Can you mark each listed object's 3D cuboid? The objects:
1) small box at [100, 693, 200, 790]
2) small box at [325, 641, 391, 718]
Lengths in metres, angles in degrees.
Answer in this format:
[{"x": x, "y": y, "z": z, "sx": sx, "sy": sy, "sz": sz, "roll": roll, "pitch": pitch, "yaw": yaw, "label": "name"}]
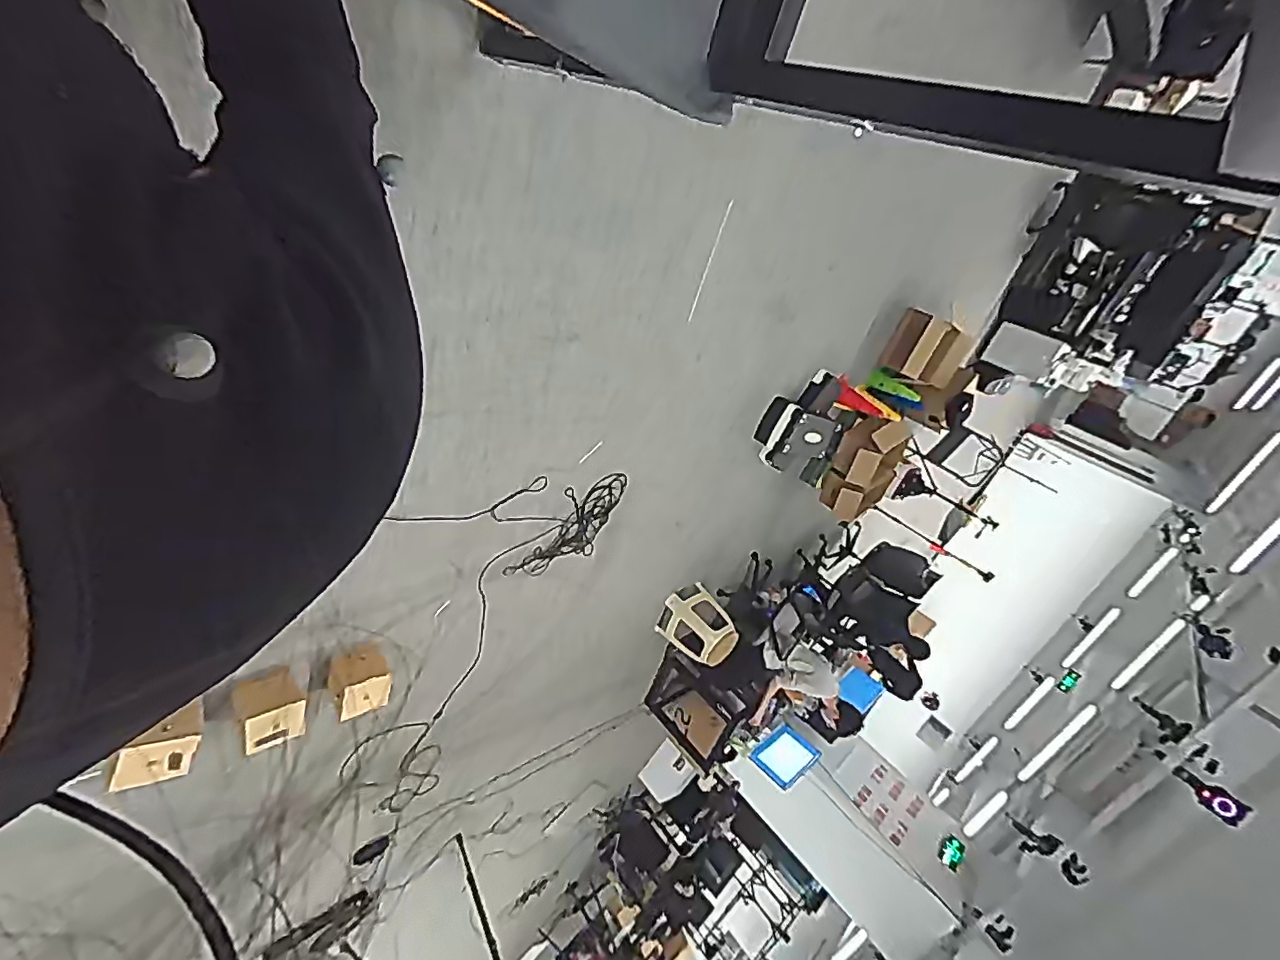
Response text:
[{"x": -1.418, "y": 0.746, "z": 1.564, "sx": 0.179, "sy": 0.176, "sz": 0.168, "roll": 12, "pitch": 112, "yaw": -53, "label": "small box"}, {"x": -1.049, "y": 0.732, "z": 1.999, "sx": 0.168, "sy": 0.176, "sz": 0.179, "roll": -8, "pitch": 127, "yaw": -47, "label": "small box"}]
